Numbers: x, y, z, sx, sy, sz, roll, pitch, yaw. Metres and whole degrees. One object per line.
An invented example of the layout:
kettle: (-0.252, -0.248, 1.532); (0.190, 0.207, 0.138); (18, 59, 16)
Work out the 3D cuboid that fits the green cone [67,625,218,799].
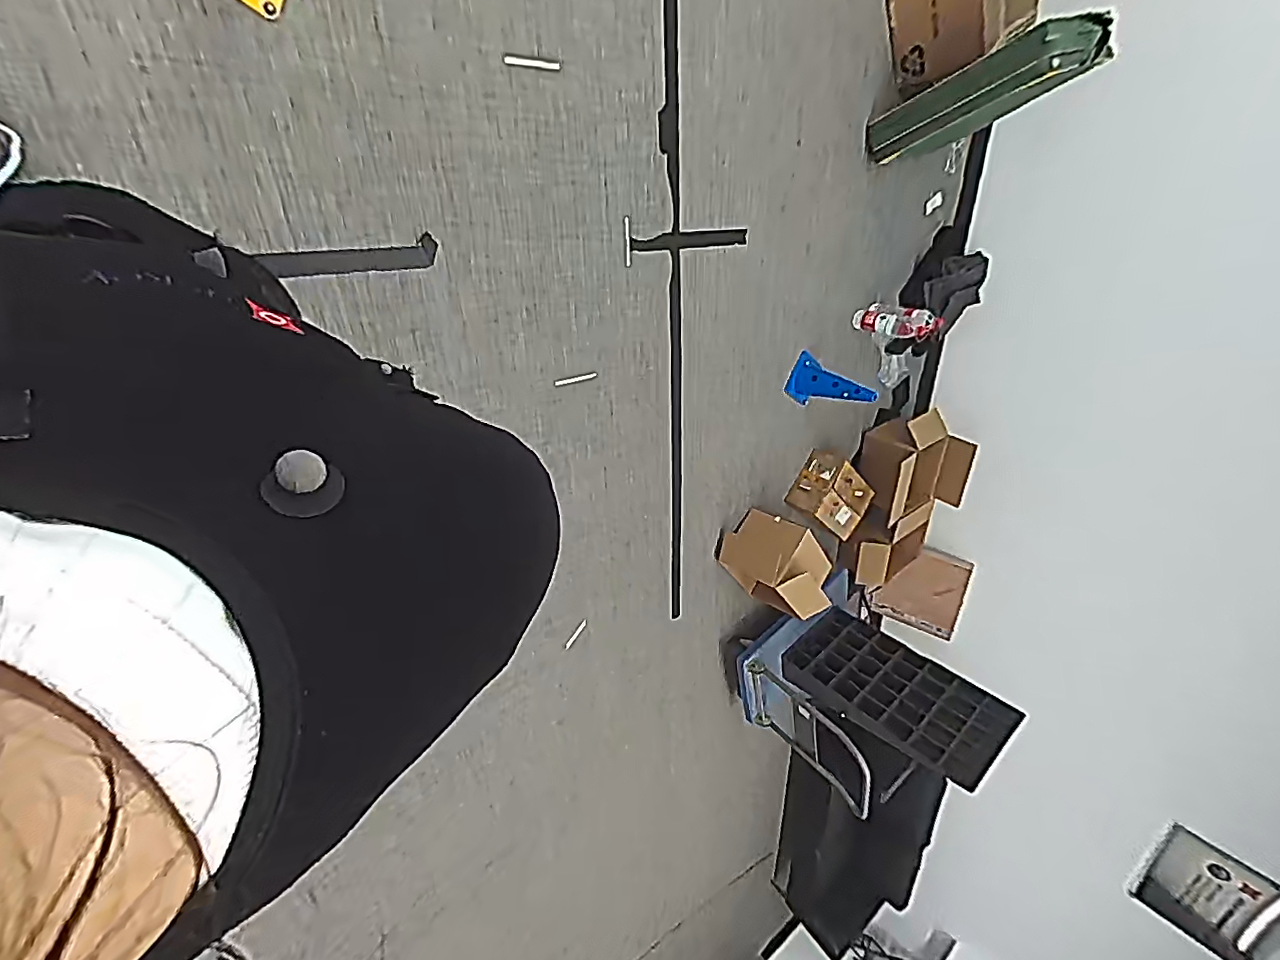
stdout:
green cone: (-1.031, 0.505, 1.123); (0.202, 0.368, 0.200); (-35, 129, -22)
